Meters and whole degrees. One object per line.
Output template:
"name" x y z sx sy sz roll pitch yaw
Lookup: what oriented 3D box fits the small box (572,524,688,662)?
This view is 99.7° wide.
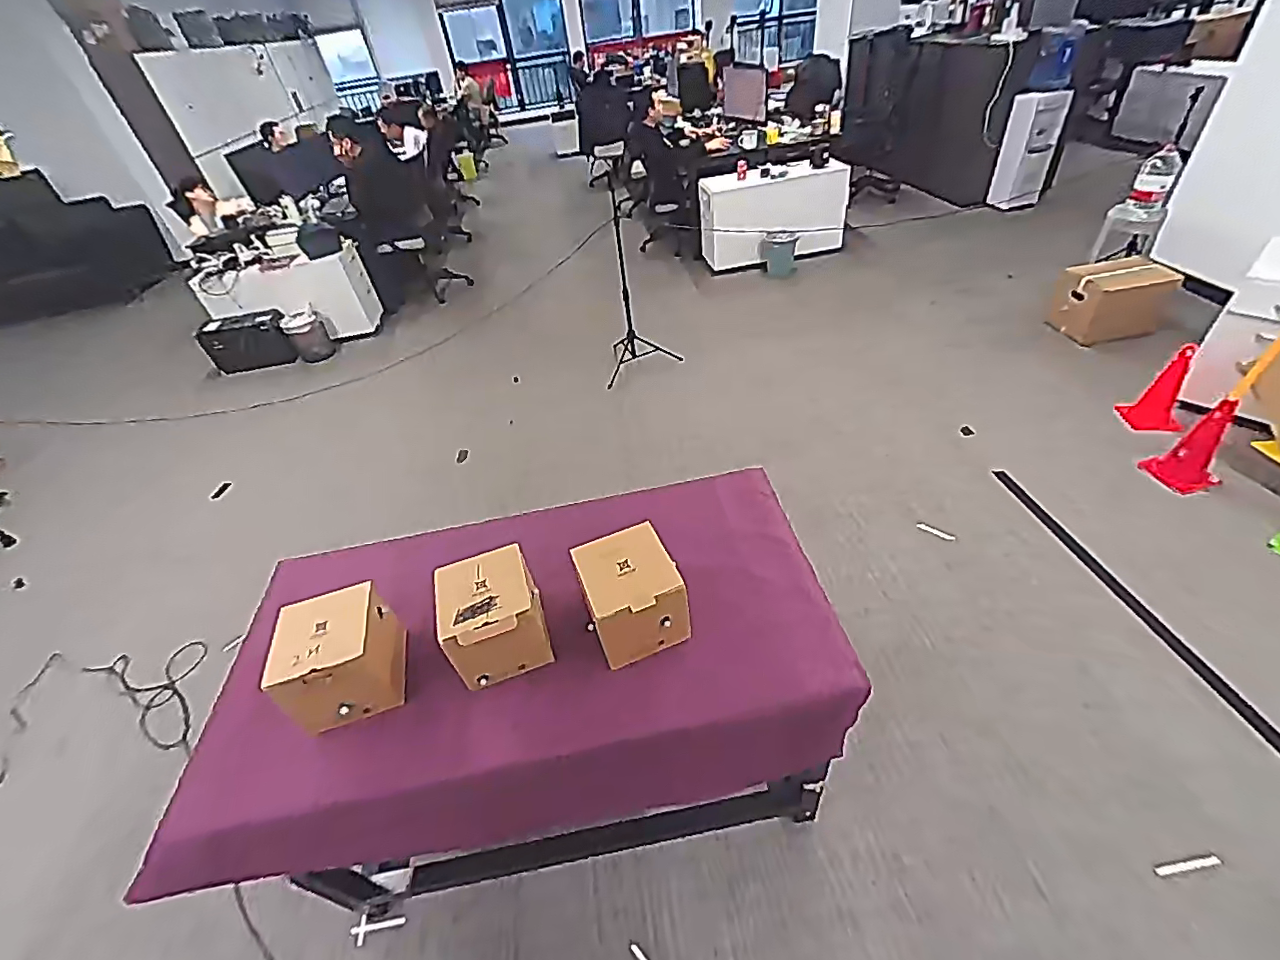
"small box" -0.015 0.222 1.036 0.168 0.176 0.179 -18 41 -11

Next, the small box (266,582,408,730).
"small box" -0.549 0.327 1.008 0.168 0.176 0.179 -16 41 -8

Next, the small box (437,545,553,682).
"small box" -0.275 0.261 1.035 0.168 0.176 0.179 -17 41 -10
